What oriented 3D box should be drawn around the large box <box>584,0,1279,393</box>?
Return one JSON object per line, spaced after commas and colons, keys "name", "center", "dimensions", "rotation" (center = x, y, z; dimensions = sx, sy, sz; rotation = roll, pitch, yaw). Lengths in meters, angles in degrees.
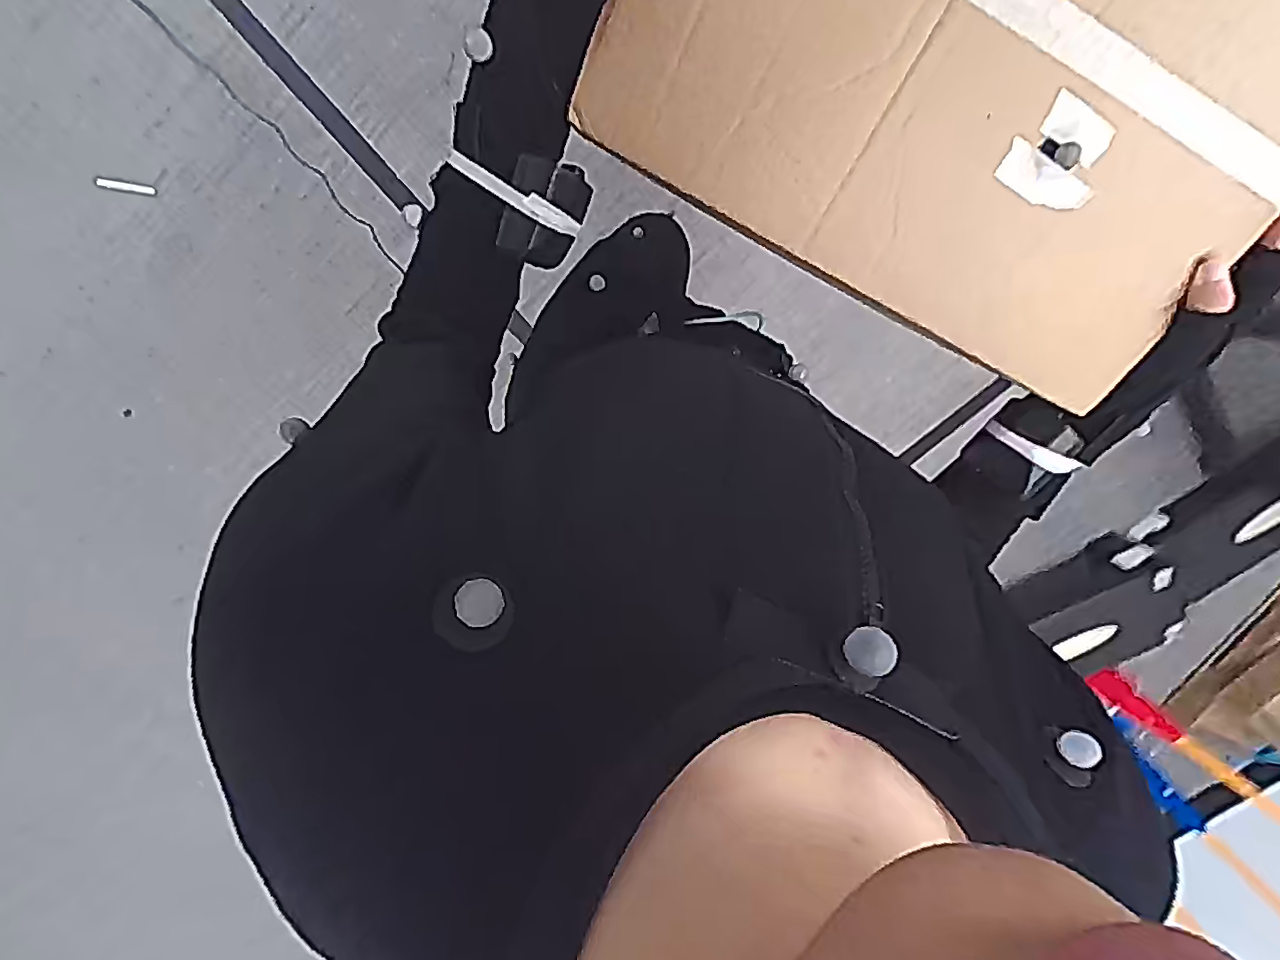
{"name": "large box", "center": [0.210, -0.329, 0.436], "dimensions": [0.408, 0.320, 0.320], "rotation": [25, 117, -10]}
